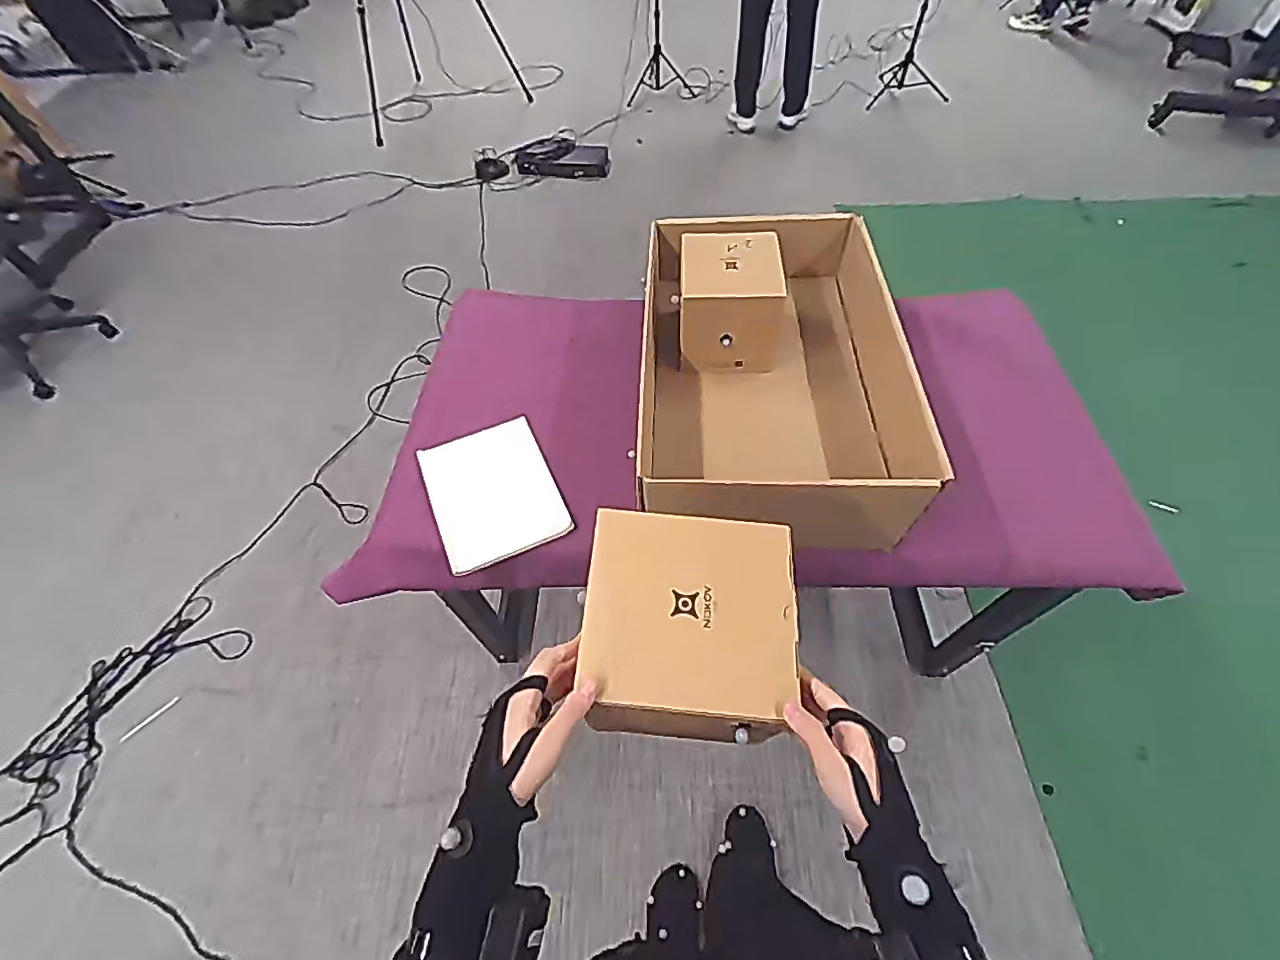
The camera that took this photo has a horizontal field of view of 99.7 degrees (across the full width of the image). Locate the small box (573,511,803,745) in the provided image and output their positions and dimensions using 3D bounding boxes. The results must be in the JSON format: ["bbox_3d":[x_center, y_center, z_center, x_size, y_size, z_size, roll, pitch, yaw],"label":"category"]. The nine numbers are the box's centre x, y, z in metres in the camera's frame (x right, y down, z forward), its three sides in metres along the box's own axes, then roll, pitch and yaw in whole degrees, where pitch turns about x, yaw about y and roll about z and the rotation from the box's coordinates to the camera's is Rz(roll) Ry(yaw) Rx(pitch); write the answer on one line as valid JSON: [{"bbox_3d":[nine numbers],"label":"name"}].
[{"bbox_3d":[0.039,0.146,0.510,0.179,0.176,0.168,5,58,0],"label":"small box"}]

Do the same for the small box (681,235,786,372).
[{"bbox_3d":[0.158,-0.307,0.962,0.168,0.176,0.179,1,56,4],"label":"small box"}]
